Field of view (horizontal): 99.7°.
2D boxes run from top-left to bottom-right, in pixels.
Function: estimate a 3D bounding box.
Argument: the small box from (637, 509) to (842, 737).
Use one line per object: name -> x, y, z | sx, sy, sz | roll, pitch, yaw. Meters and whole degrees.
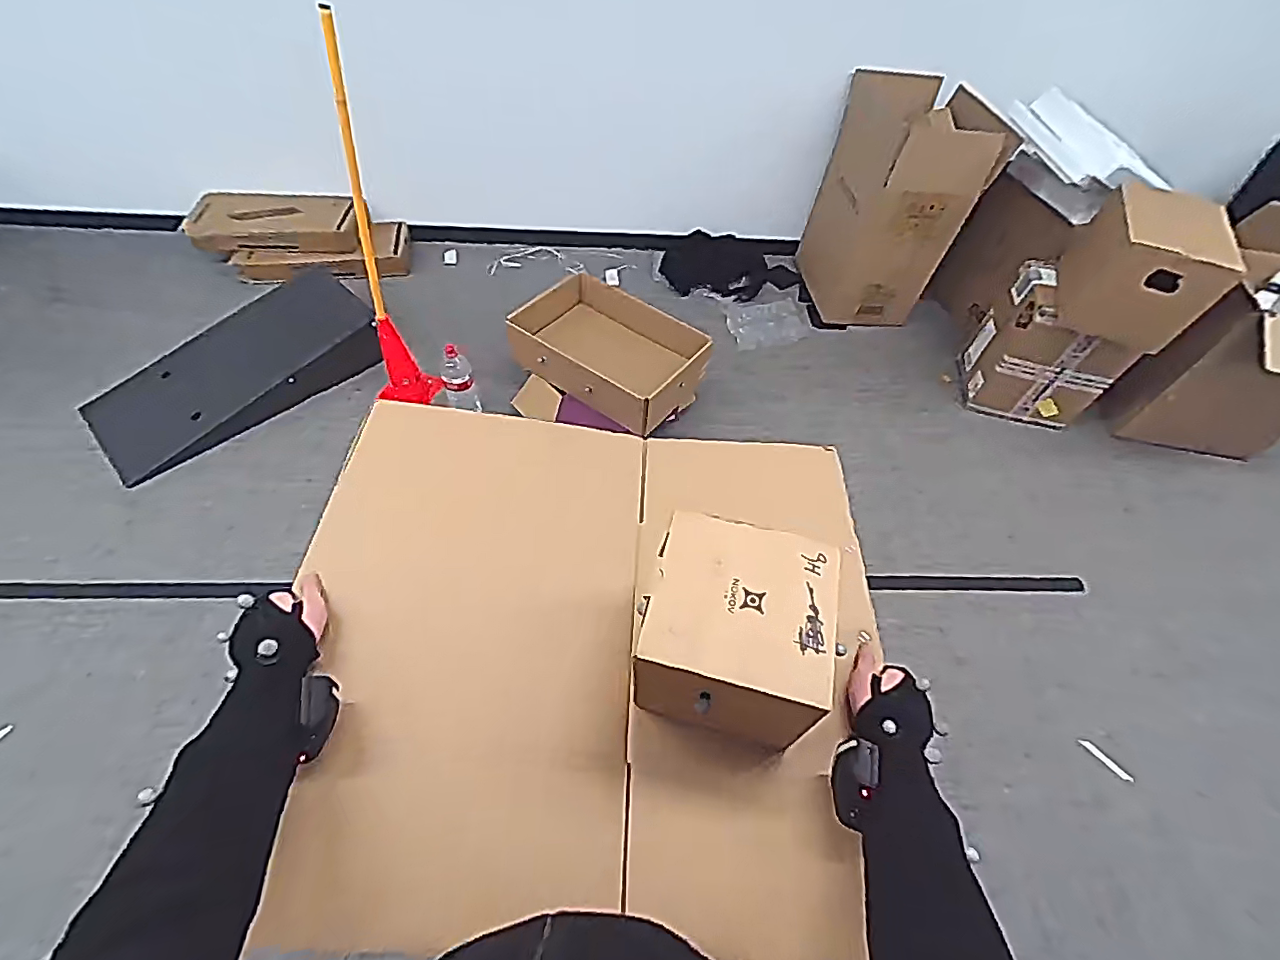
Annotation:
small box -> 0.103, 0.159, 0.585 | 0.179, 0.176, 0.168 | 12, 55, 10
